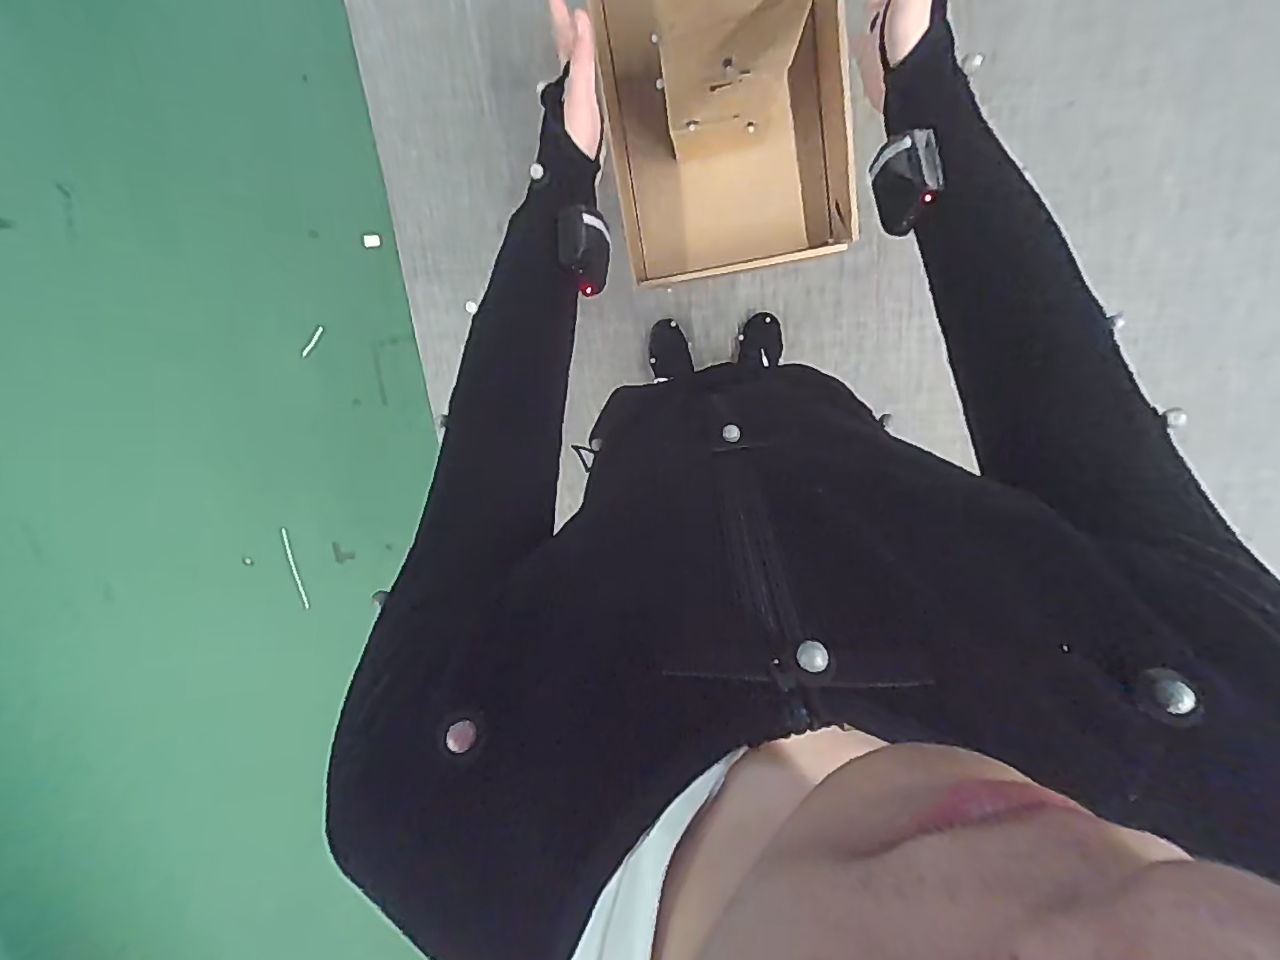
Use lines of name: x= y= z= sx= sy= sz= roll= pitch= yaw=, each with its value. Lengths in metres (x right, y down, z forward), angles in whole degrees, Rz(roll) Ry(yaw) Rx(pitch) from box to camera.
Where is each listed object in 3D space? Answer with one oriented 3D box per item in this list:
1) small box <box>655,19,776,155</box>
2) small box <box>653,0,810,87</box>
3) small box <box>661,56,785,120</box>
small box: x=0.130 y=-0.684 z=0.929 sx=0.179 sy=0.176 sz=0.168 roll=-7 pitch=105 yaw=8
small box: x=0.094 y=-0.594 z=0.615 sx=0.168 sy=0.176 sz=0.179 roll=-7 pitch=106 yaw=9
small box: x=0.113 y=-0.643 z=0.771 sx=0.168 sy=0.176 sz=0.179 roll=-5 pitch=105 yaw=8
